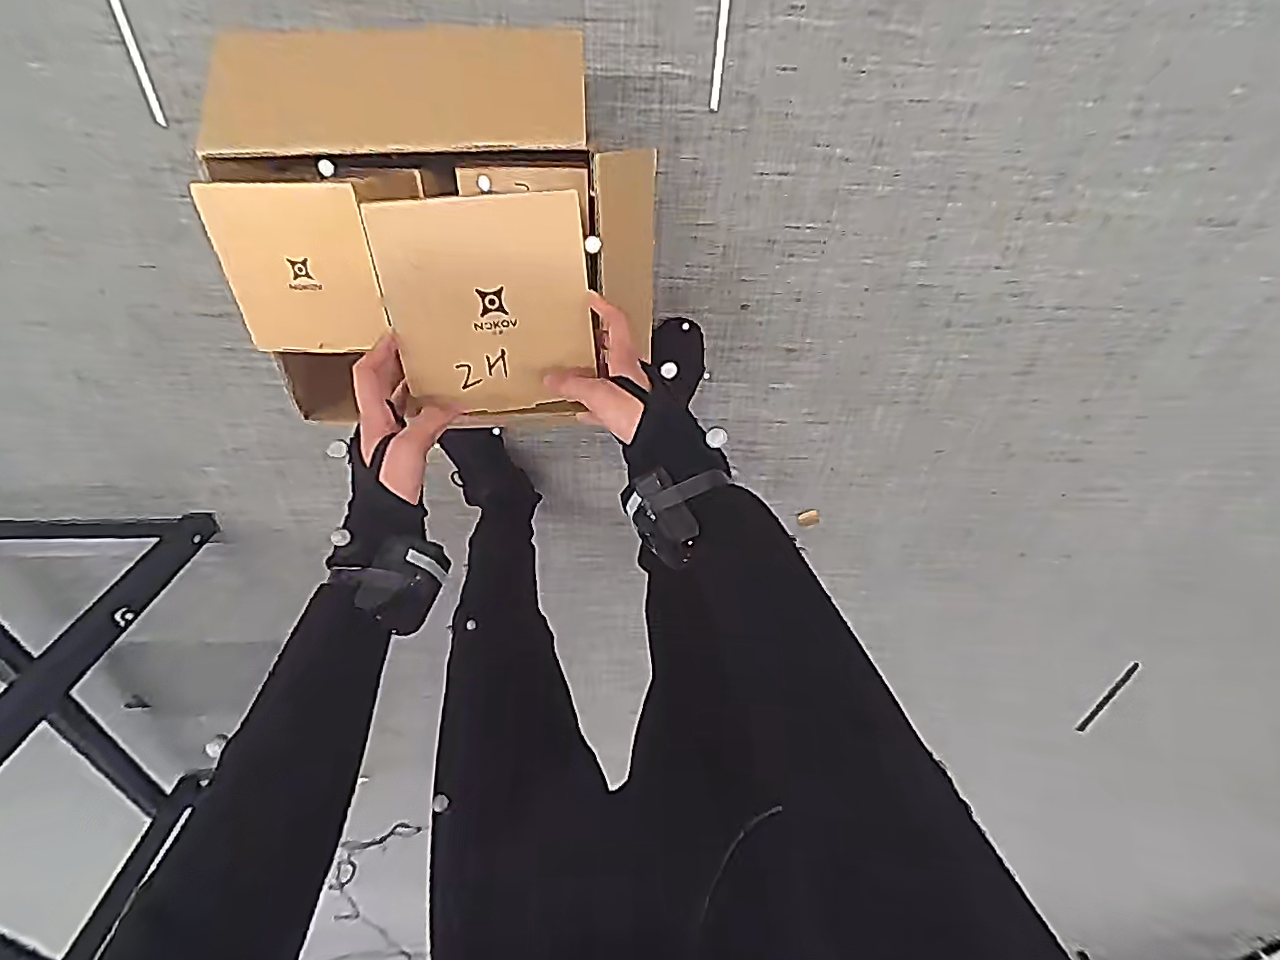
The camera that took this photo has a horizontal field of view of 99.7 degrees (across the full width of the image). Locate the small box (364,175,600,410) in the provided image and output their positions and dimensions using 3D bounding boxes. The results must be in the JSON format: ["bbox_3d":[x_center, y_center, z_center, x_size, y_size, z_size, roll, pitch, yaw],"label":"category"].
[{"bbox_3d":[-0.134,-0.184,0.516,0.168,0.176,0.179,-8,119,-7],"label":"small box"}]
